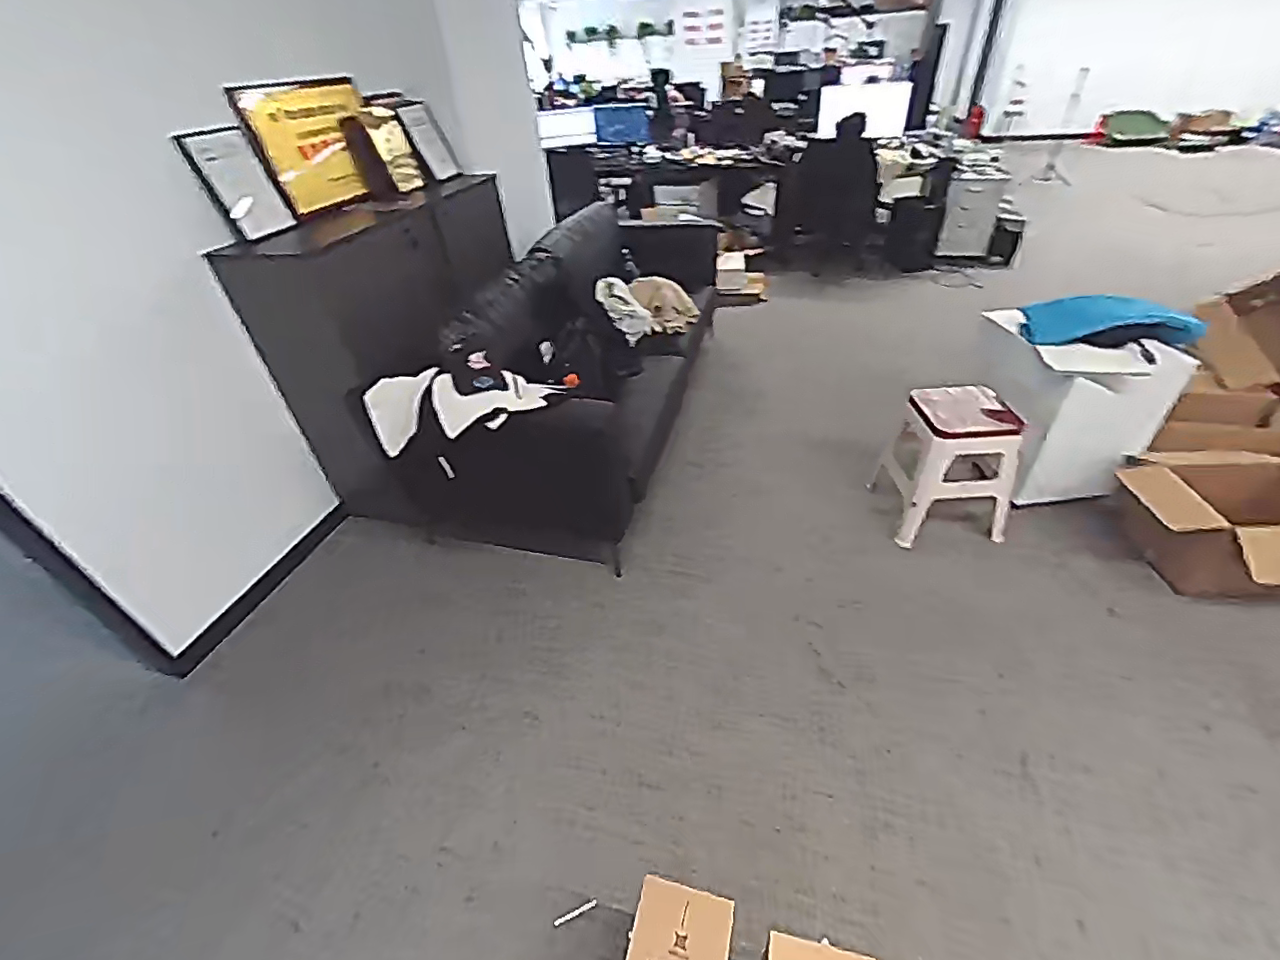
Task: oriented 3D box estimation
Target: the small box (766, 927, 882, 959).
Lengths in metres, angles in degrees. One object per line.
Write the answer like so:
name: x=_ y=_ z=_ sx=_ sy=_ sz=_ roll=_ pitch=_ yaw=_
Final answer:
small box: x=0.293 y=0.875 z=0.882 sx=0.179 sy=0.176 sz=0.168 roll=6 pitch=40 yaw=13
